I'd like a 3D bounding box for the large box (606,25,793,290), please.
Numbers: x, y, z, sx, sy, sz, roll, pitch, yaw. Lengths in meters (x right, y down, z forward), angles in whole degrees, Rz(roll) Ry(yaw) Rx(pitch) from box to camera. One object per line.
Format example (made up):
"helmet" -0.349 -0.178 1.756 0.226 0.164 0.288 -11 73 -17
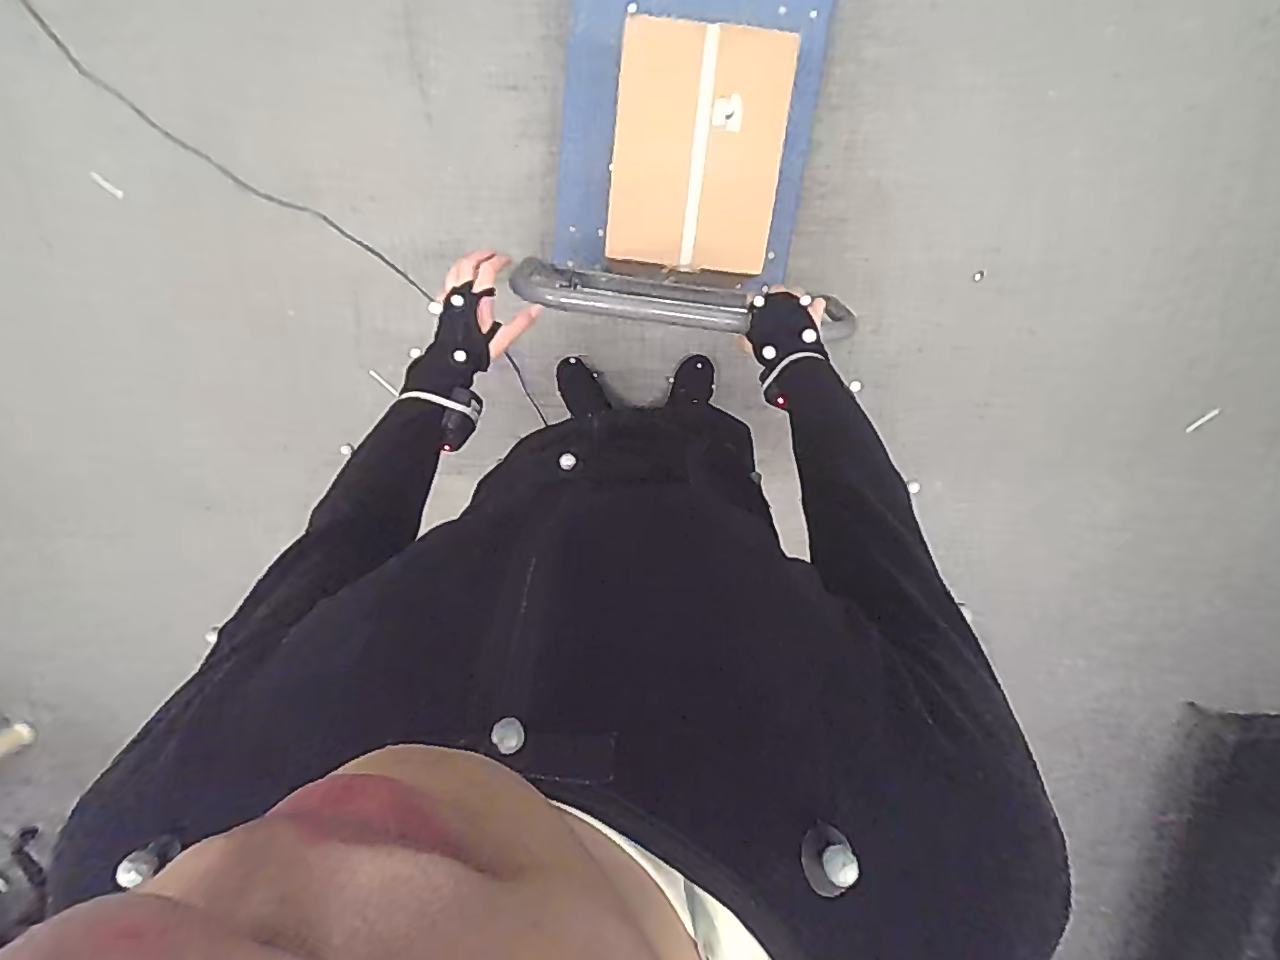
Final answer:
"large box" 0.107 -0.639 1.154 0.320 0.320 0.408 6 105 -2
